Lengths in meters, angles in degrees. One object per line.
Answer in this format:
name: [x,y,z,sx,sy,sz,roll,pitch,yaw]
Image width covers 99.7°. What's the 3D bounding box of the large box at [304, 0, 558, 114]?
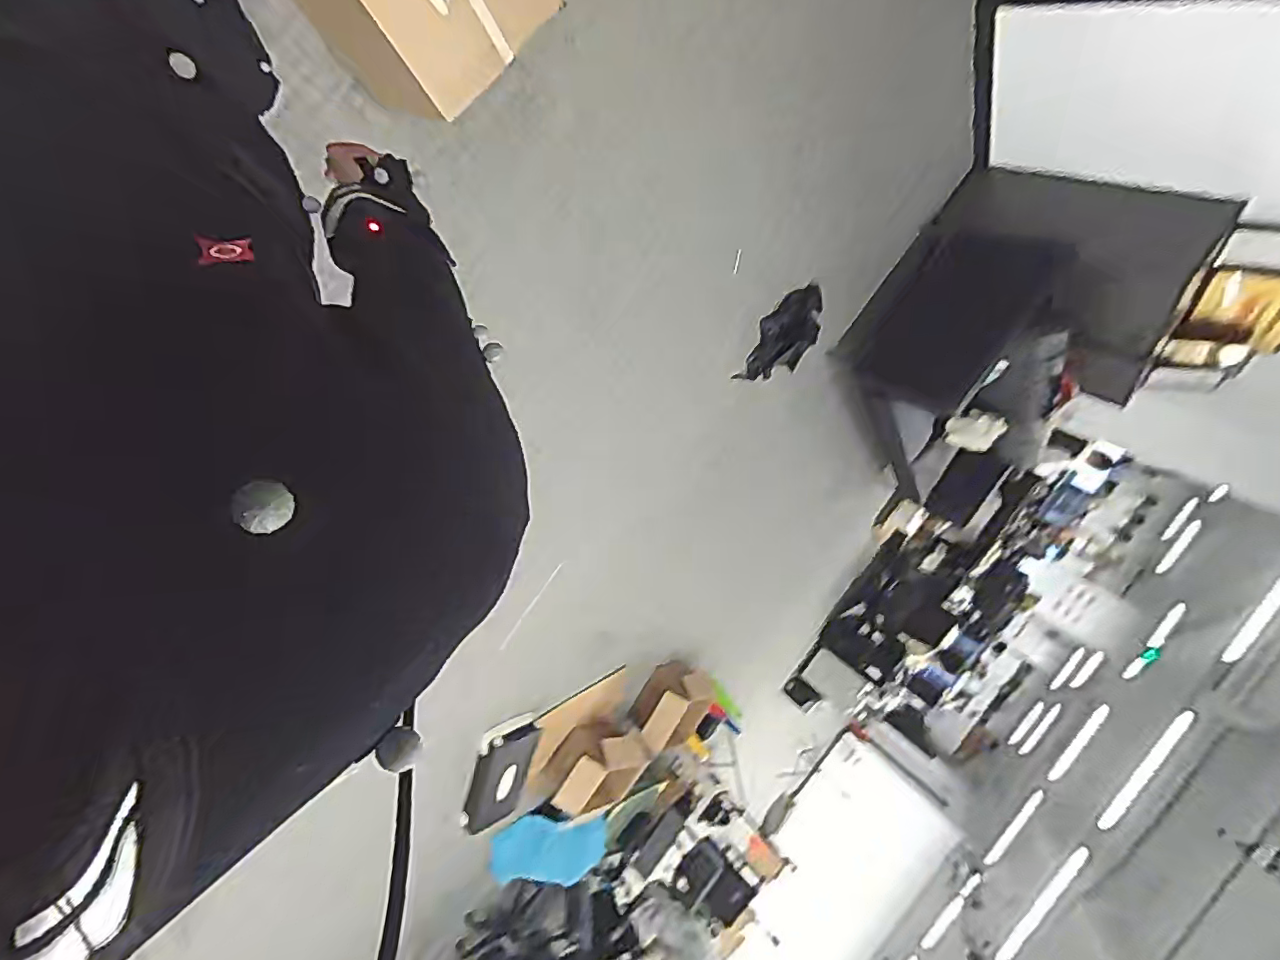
large box: [-0.402,-0.886,0.850,0.320,0.320,0.408,-49,145,-3]
